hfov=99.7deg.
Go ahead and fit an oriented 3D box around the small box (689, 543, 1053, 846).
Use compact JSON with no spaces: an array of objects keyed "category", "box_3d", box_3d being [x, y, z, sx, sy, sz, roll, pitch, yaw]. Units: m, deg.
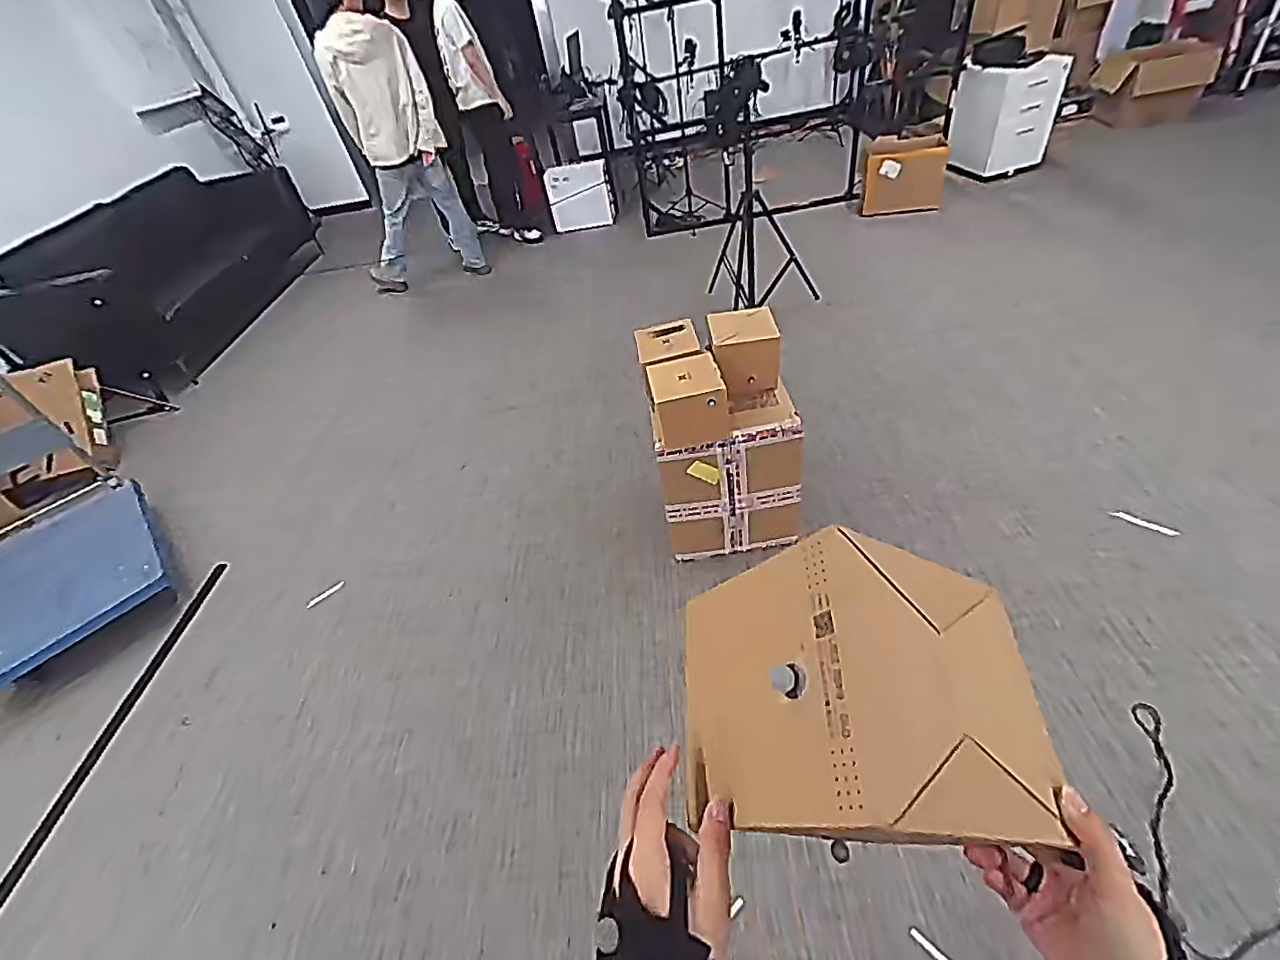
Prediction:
[{"category":"small box","box_3d":[0.154,0.167,0.401,0.179,0.176,0.168,21,52,-24]}]
